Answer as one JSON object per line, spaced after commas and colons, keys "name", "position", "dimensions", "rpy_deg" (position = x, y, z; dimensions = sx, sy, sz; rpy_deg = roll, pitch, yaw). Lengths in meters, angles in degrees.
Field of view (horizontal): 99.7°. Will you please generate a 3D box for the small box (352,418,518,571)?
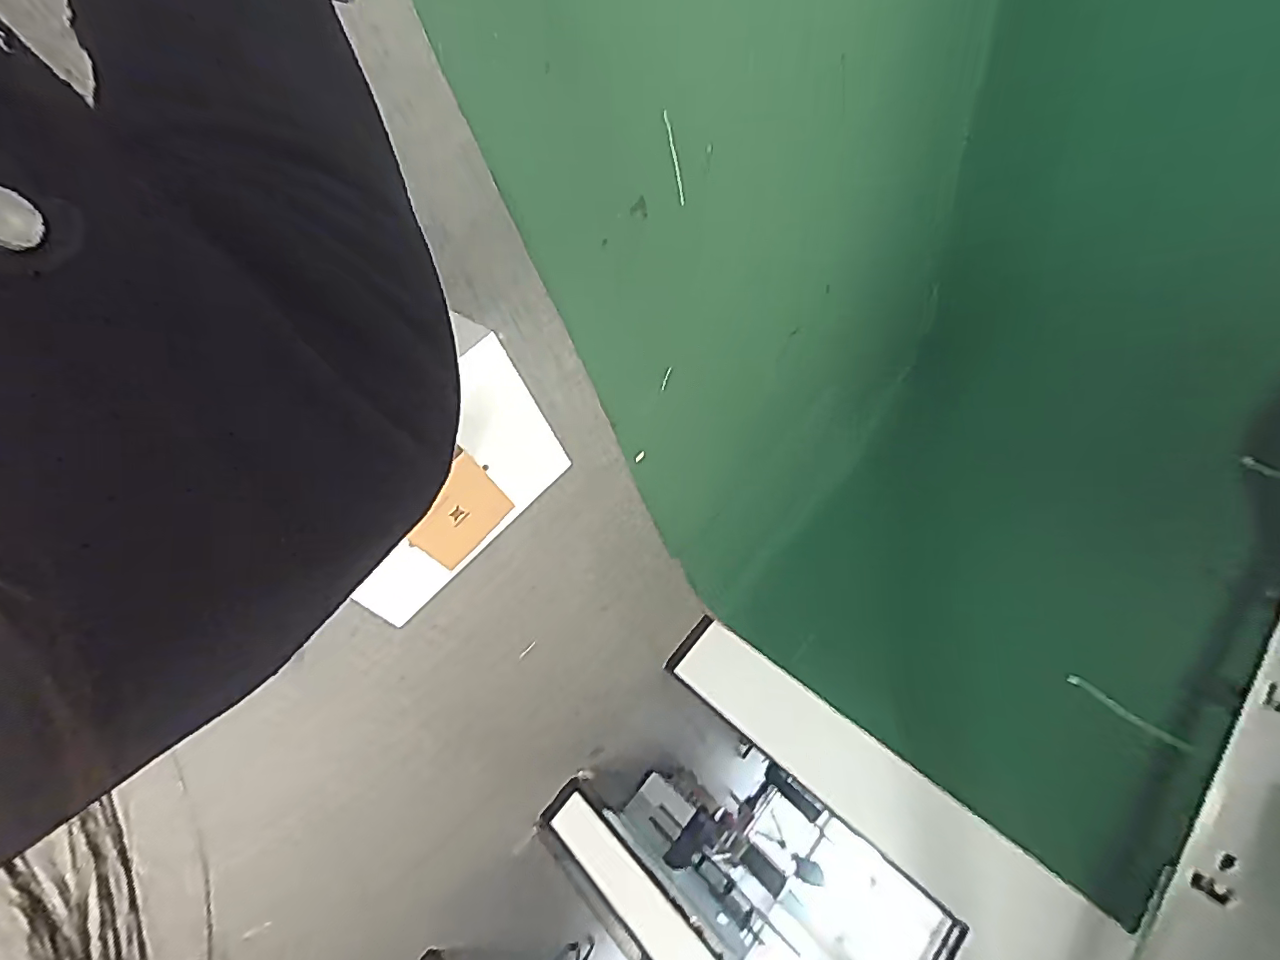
{"name": "small box", "position": [-0.352, 0.021, 0.936], "dimensions": [0.168, 0.176, 0.179], "rpy_deg": [-48, 143, -14]}
